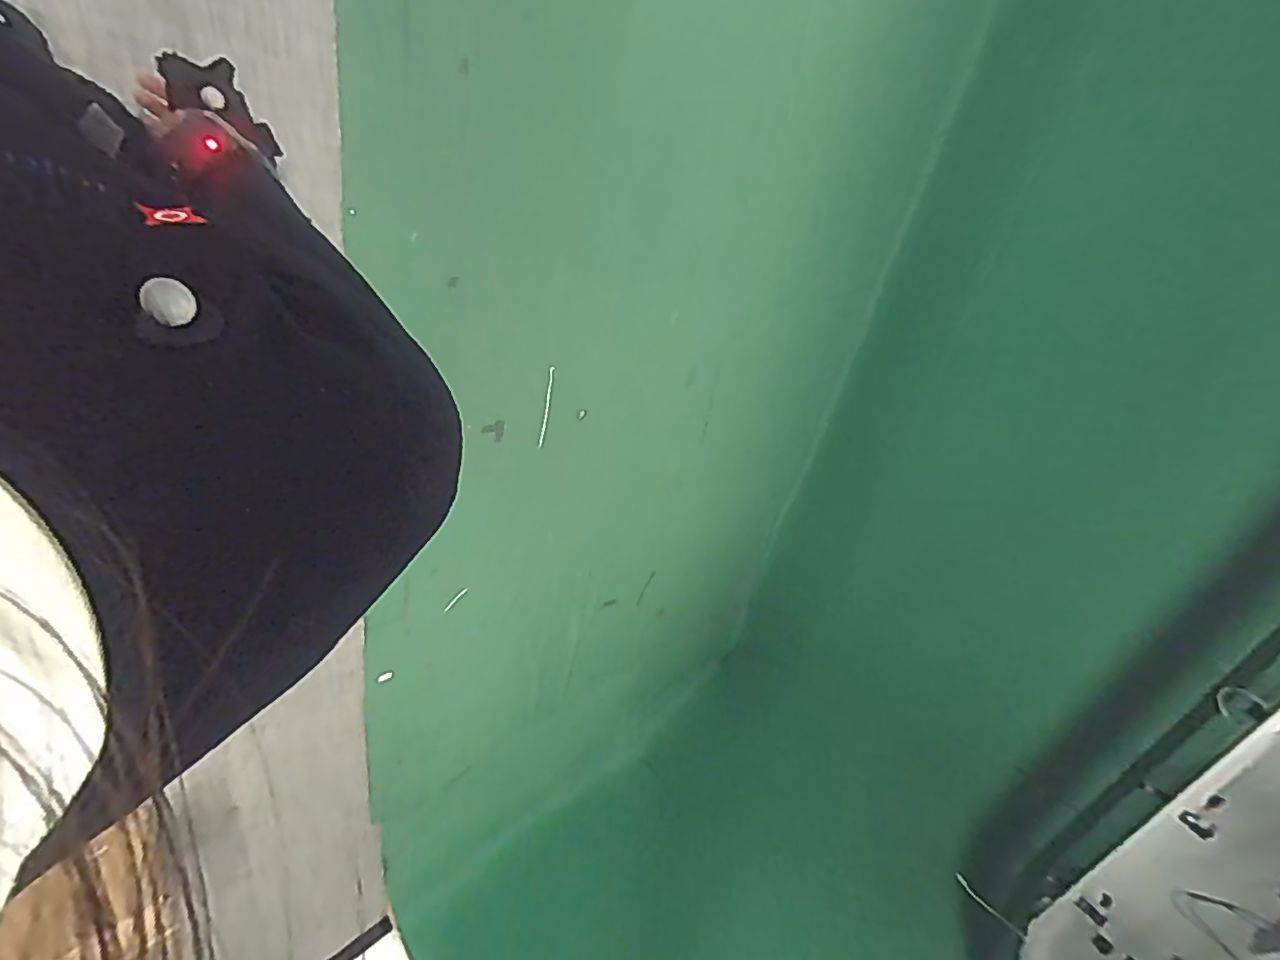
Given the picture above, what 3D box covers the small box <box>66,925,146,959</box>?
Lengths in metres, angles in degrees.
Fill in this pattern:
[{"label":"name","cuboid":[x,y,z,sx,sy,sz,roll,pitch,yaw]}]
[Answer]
[{"label":"small box","cuboid":[-1.370,1.296,1.361,0.179,0.176,0.168,-18,126,-41]}]
